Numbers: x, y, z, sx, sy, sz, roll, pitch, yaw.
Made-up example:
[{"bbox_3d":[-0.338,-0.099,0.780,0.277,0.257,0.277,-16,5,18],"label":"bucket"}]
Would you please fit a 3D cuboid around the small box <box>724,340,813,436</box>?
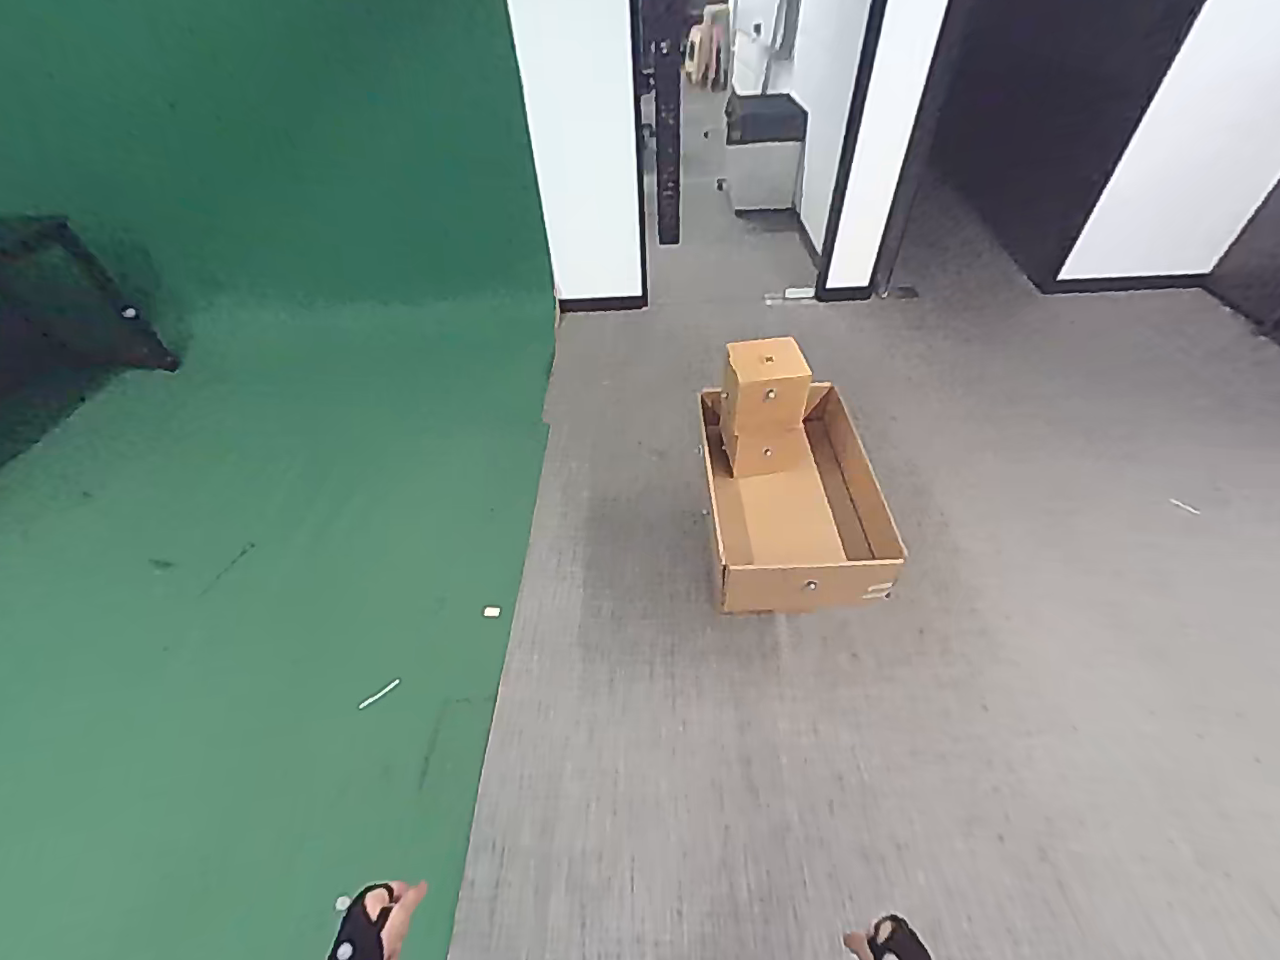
[{"bbox_3d":[0.317,-0.231,1.371,0.179,0.176,0.168,-6,47,-1],"label":"small box"}]
